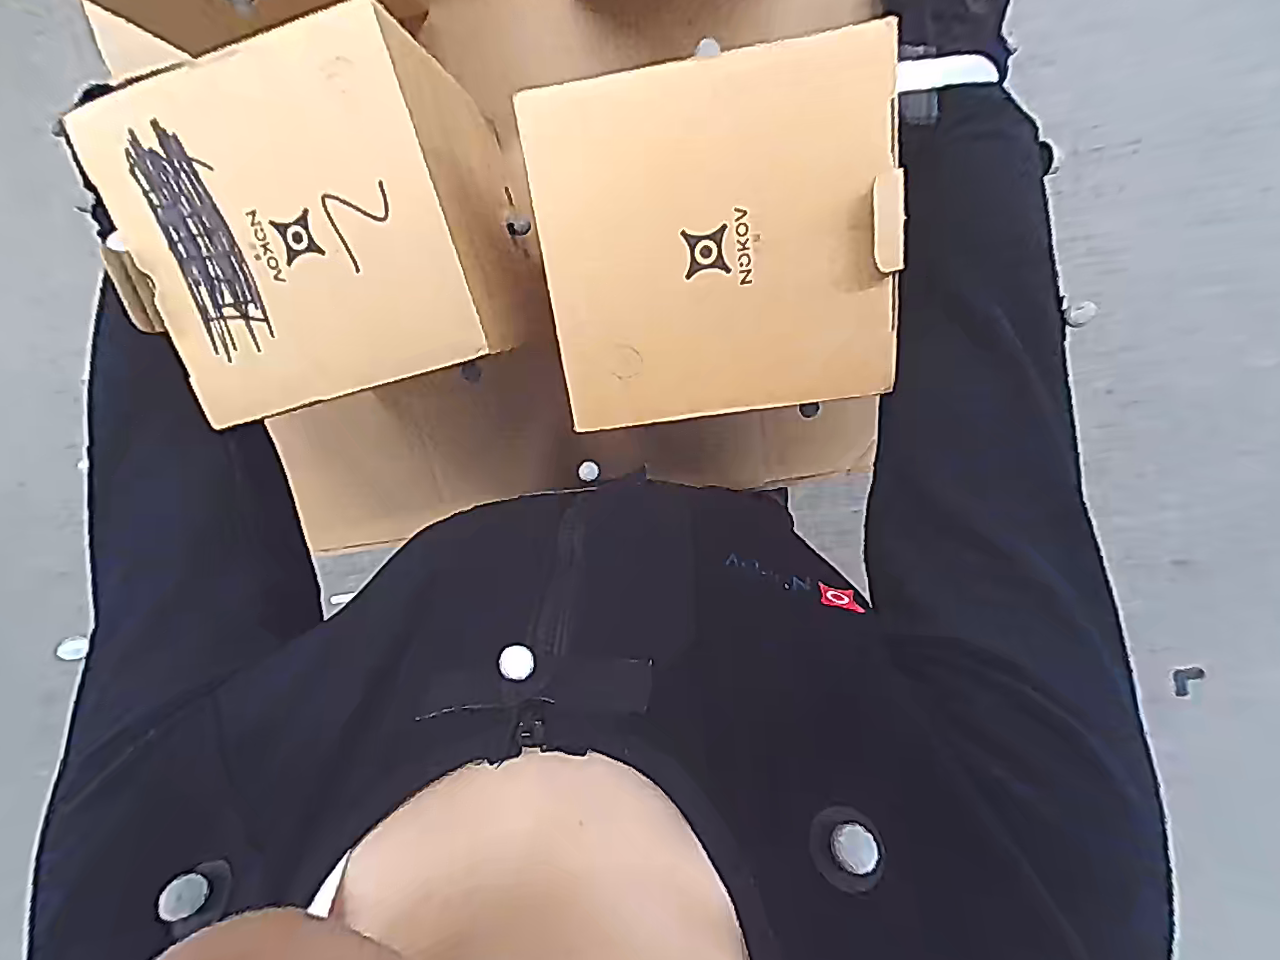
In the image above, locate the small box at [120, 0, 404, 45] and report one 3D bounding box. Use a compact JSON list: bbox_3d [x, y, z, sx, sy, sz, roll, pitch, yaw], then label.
[{"bbox_3d":[-0.254,-0.380,0.294,0.168,0.176,0.179,-10,106,7],"label":"small box"}]
